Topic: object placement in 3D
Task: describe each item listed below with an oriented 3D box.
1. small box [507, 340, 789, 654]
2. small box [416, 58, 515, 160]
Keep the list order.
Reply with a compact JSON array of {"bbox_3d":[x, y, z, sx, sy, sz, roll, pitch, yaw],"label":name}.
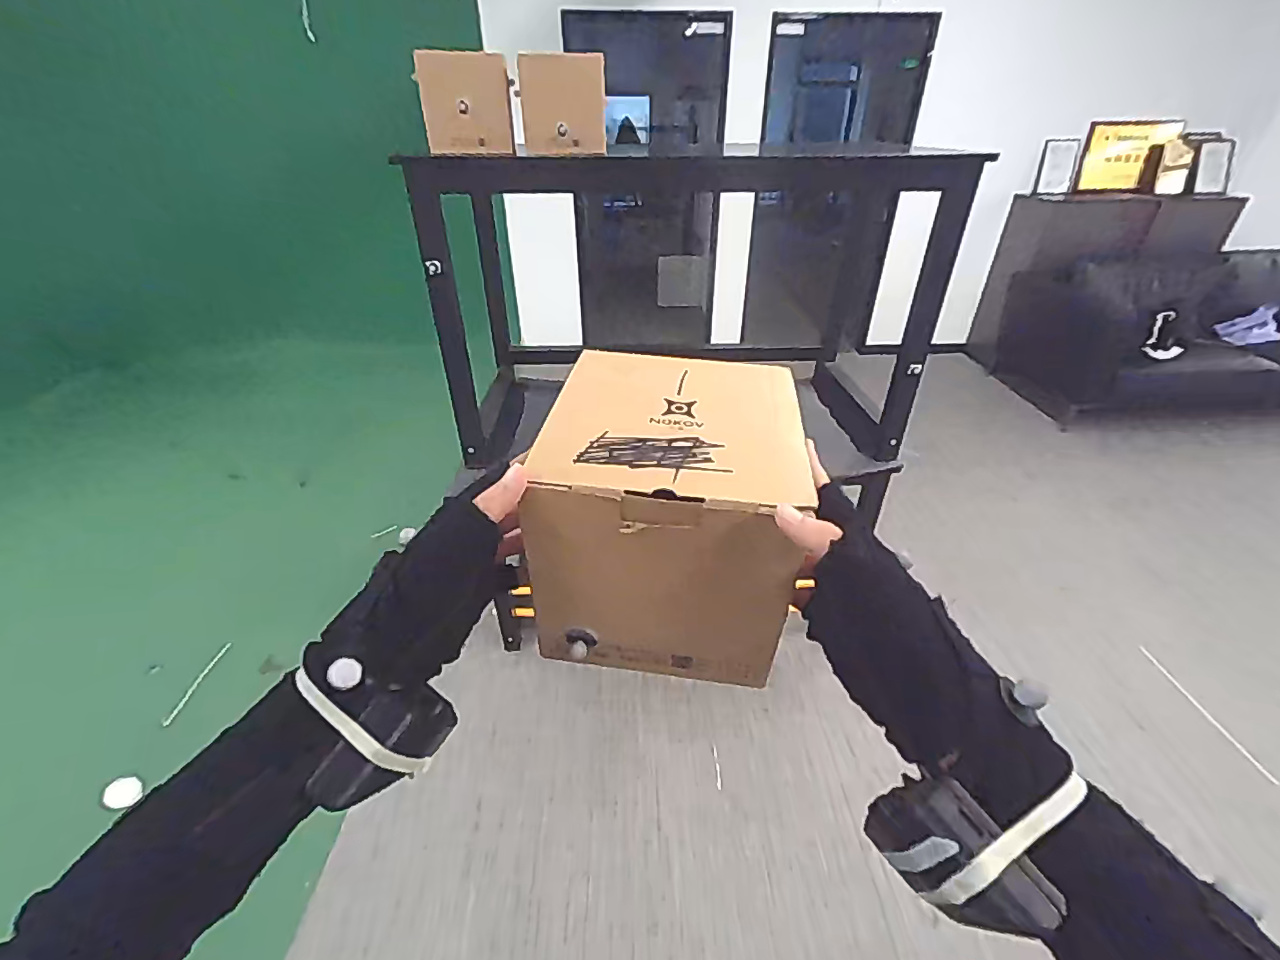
[{"bbox_3d":[0.014,0.009,0.418,0.168,0.176,0.179,6,37,5],"label":"small box"},{"bbox_3d":[-0.359,-0.782,1.150,0.168,0.176,0.179,-4,33,-8],"label":"small box"}]
